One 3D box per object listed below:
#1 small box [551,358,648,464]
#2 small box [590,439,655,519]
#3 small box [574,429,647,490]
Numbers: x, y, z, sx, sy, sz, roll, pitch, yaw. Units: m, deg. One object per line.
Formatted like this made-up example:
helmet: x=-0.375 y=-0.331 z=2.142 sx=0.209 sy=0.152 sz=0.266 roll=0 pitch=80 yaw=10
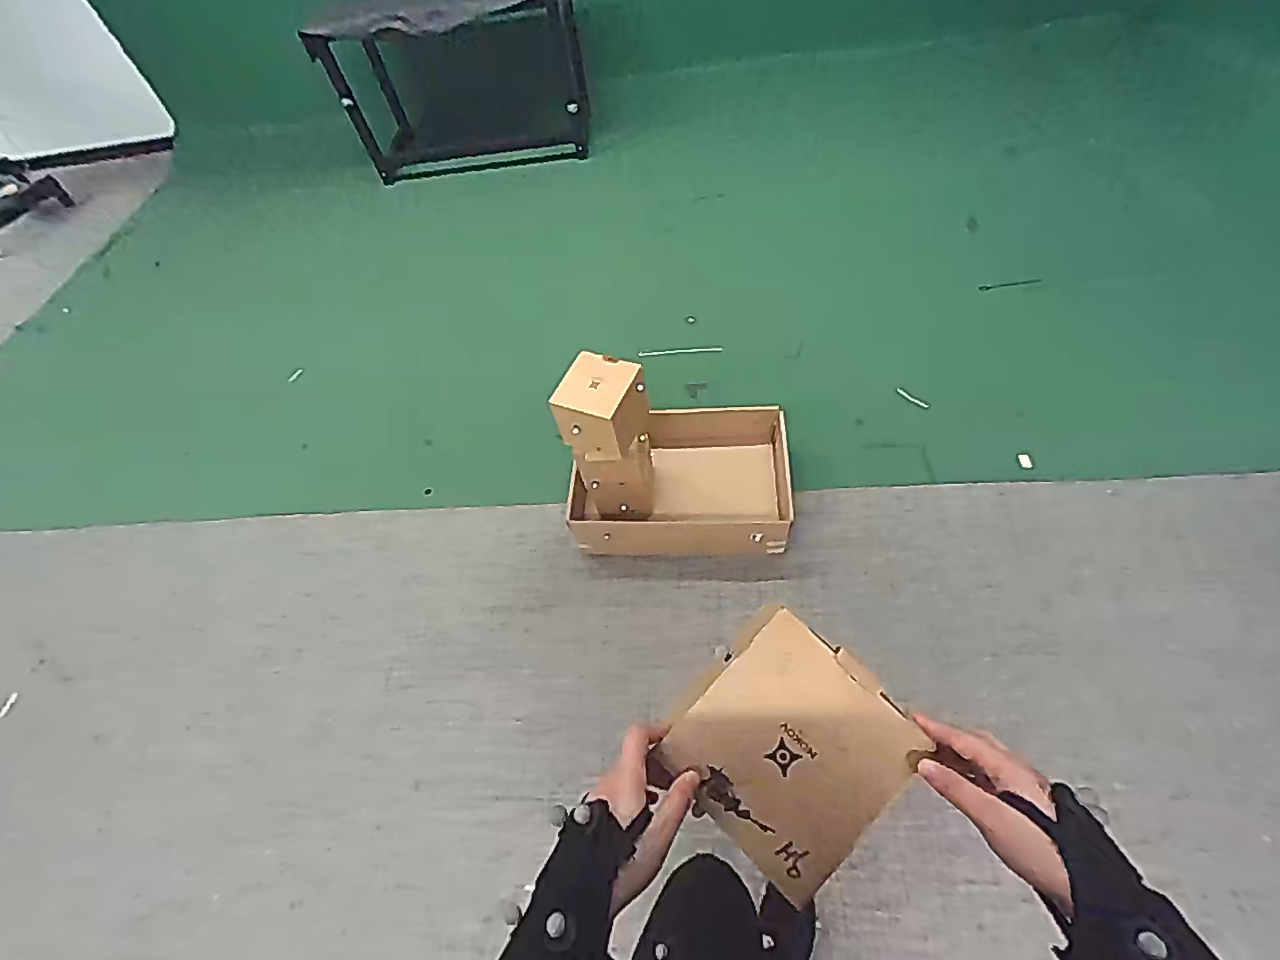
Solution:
small box: x=-0.089 y=-0.166 z=1.325 sx=0.168 sy=0.176 sz=0.179 roll=18 pitch=60 yaw=18
small box: x=-0.047 y=0.000 z=1.604 sx=0.168 sy=0.176 sz=0.179 roll=-3 pitch=56 yaw=6
small box: x=-0.072 y=-0.082 z=1.463 sx=0.168 sy=0.176 sz=0.179 roll=-1 pitch=56 yaw=6
